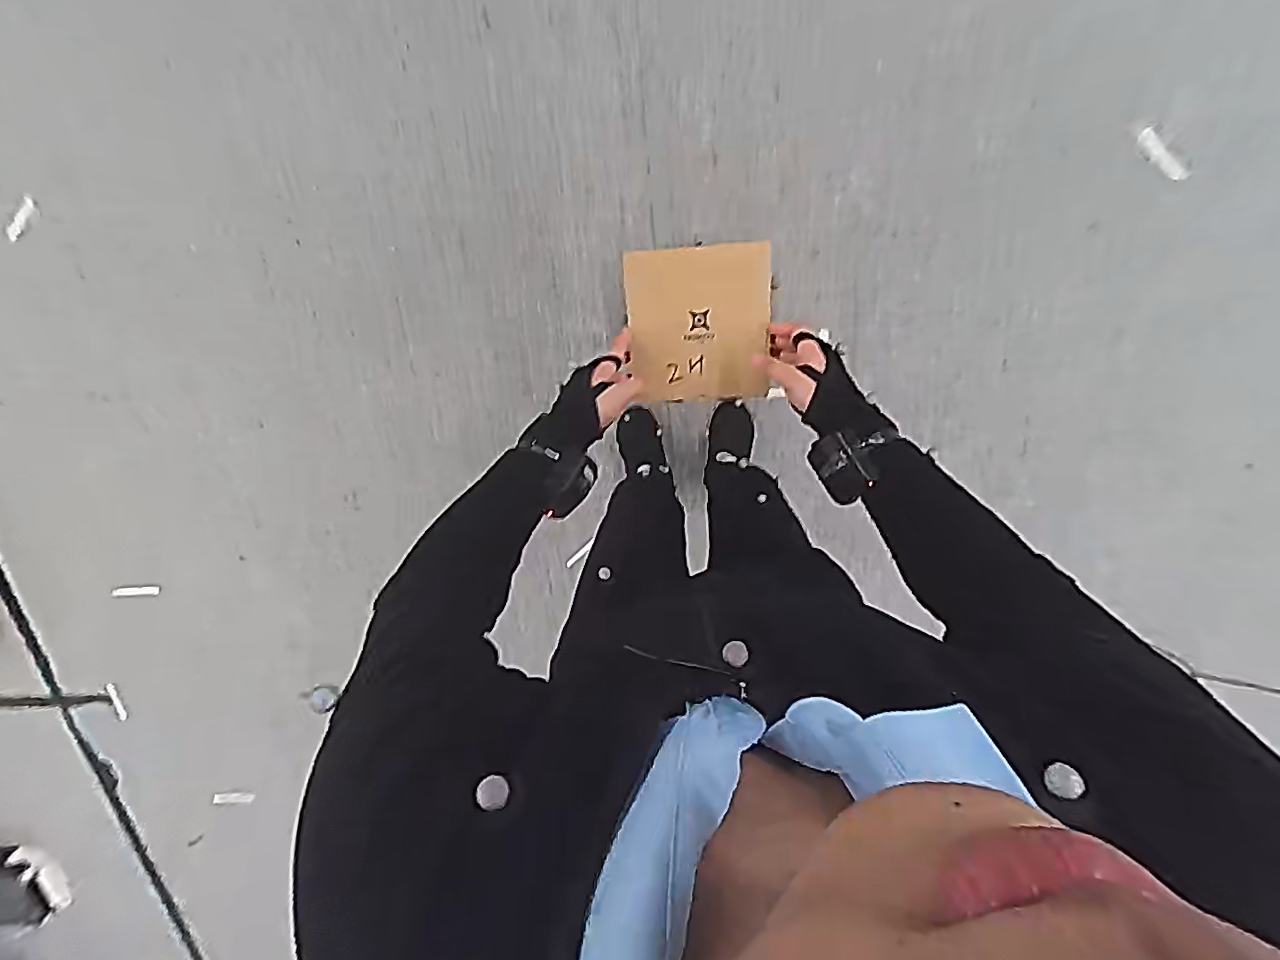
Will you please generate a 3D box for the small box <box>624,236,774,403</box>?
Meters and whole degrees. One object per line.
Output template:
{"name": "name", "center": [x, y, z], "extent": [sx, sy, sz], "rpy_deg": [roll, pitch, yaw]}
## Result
{"name": "small box", "center": [0.072, -0.205, 0.685], "extent": [0.168, 0.176, 0.179], "rpy_deg": [-2, 113, 6]}
